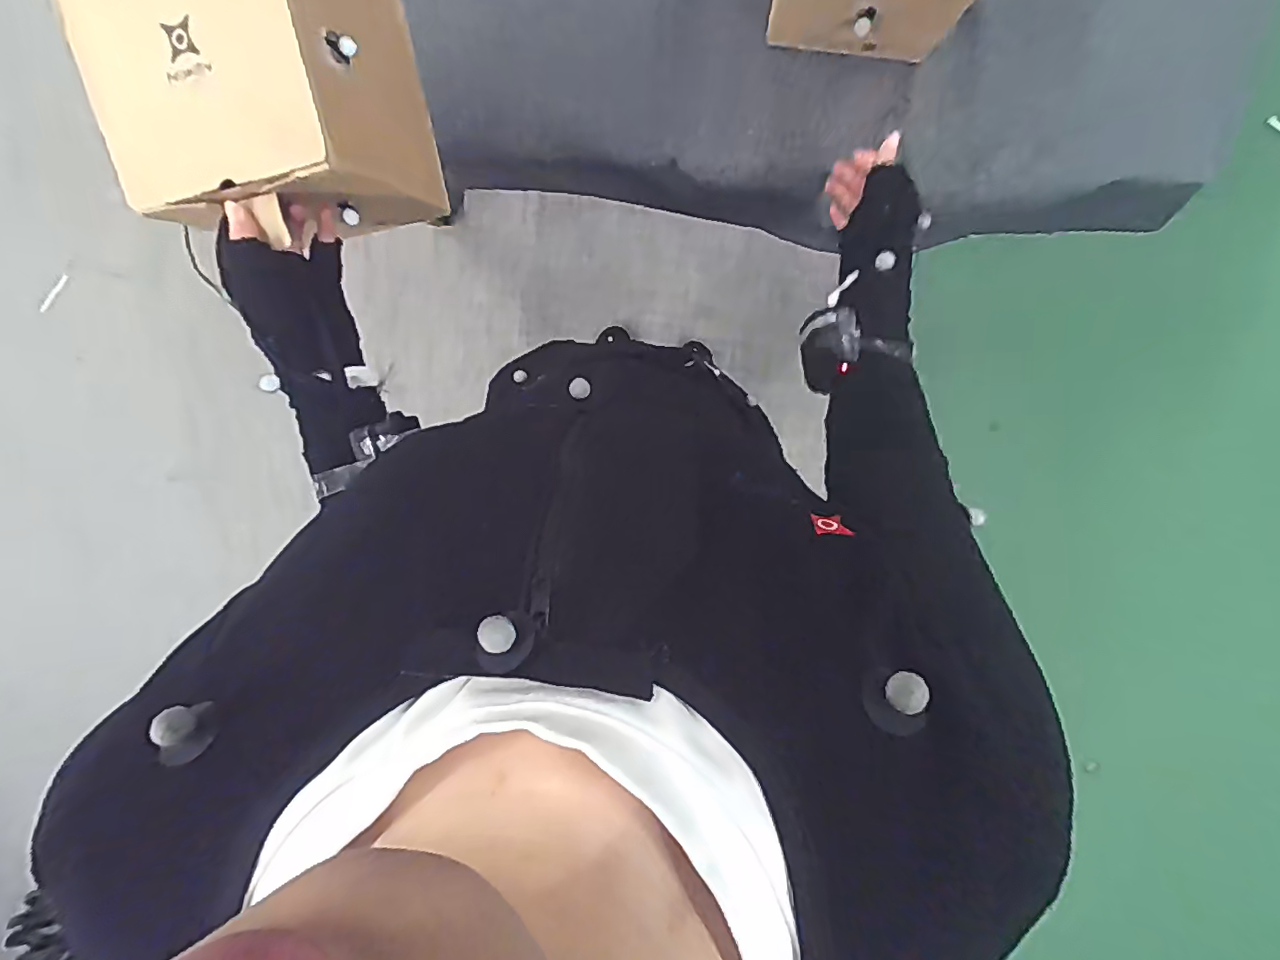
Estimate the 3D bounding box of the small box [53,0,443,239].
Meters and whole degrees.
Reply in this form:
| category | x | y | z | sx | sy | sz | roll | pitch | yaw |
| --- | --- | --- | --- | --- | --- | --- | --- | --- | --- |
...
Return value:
| category | x | y | z | sx | sy | sz | roll | pitch | yaw |
| --- | --- | --- | --- | --- | --- | --- | --- | --- | --- |
| small box | -0.280 | -0.299 | 0.422 | 0.168 | 0.176 | 0.179 | -7 | 103 | 10 |
